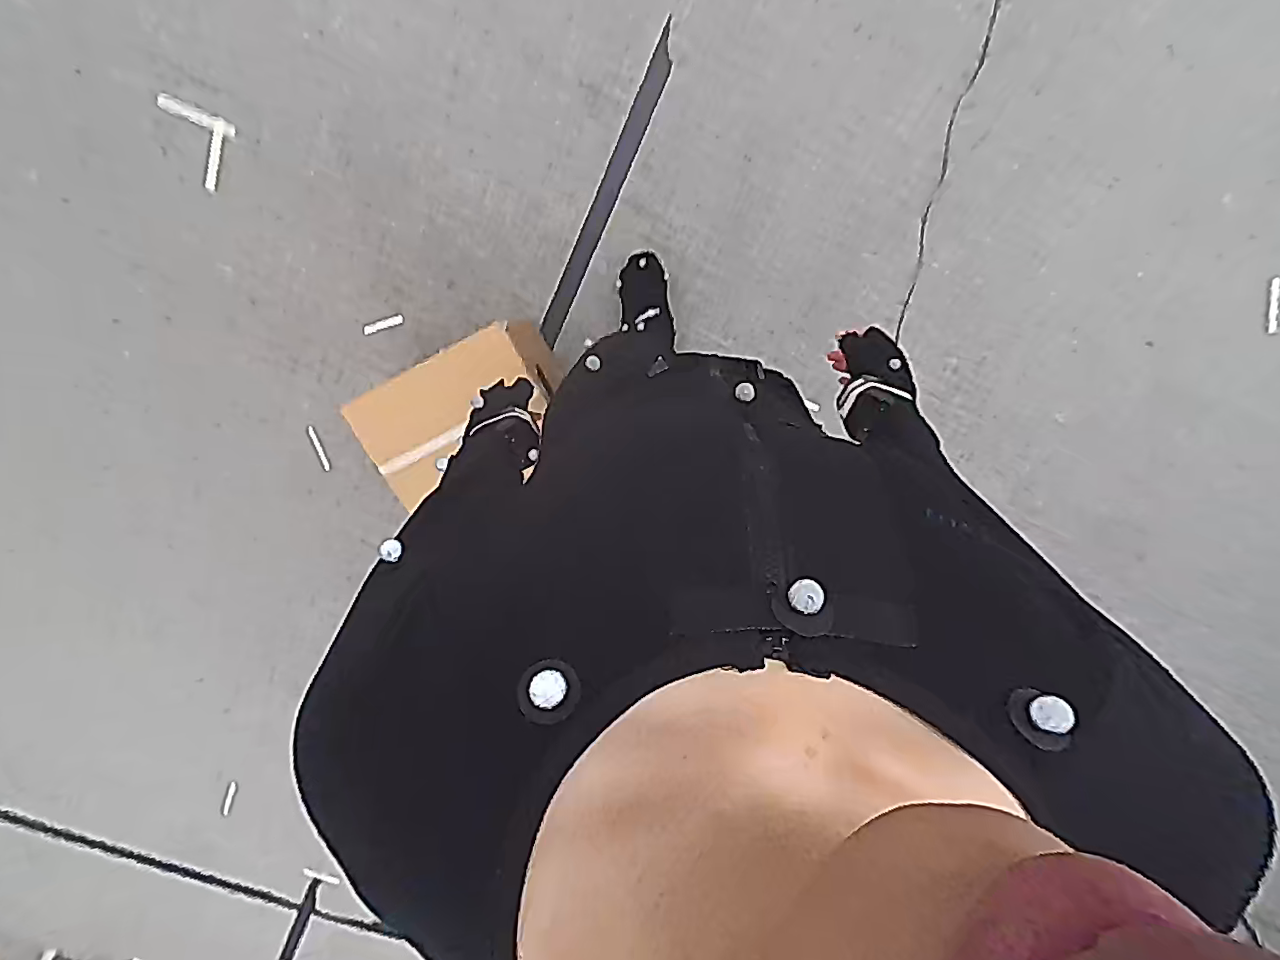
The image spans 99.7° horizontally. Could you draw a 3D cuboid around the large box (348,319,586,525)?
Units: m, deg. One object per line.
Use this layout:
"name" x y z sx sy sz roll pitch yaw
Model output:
"large box" -0.386 -0.154 1.307 0.408 0.320 0.320 -26 106 7
